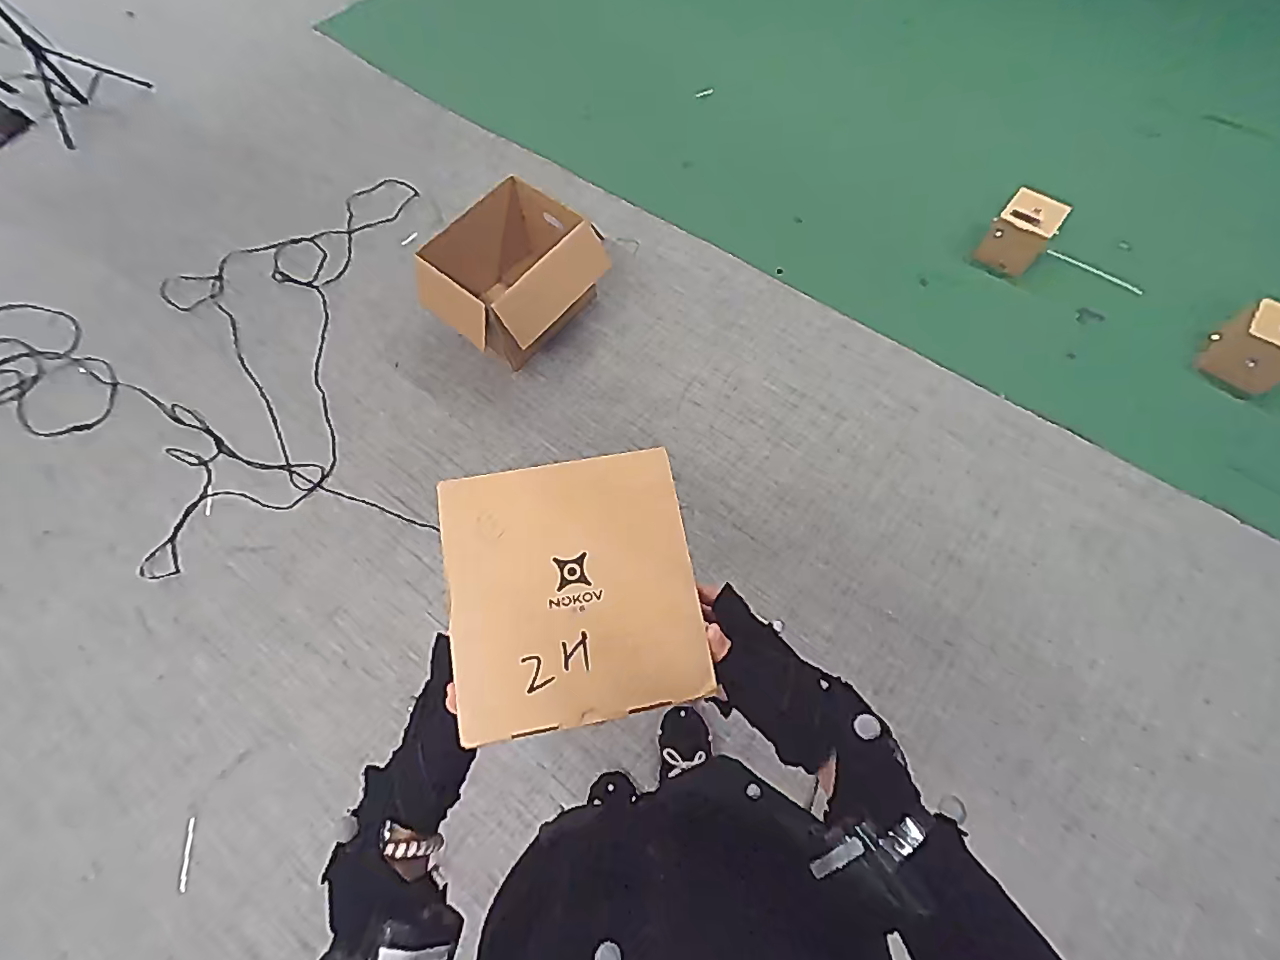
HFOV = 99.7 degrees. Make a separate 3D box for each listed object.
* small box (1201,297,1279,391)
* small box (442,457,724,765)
[{"bbox_3d":[1.812,-0.383,1.565,0.179,0.176,0.168,36,72,16],"label":"small box"},{"bbox_3d":[-0.047,0.098,0.427,0.168,0.176,0.179,-9,76,-7],"label":"small box"}]
